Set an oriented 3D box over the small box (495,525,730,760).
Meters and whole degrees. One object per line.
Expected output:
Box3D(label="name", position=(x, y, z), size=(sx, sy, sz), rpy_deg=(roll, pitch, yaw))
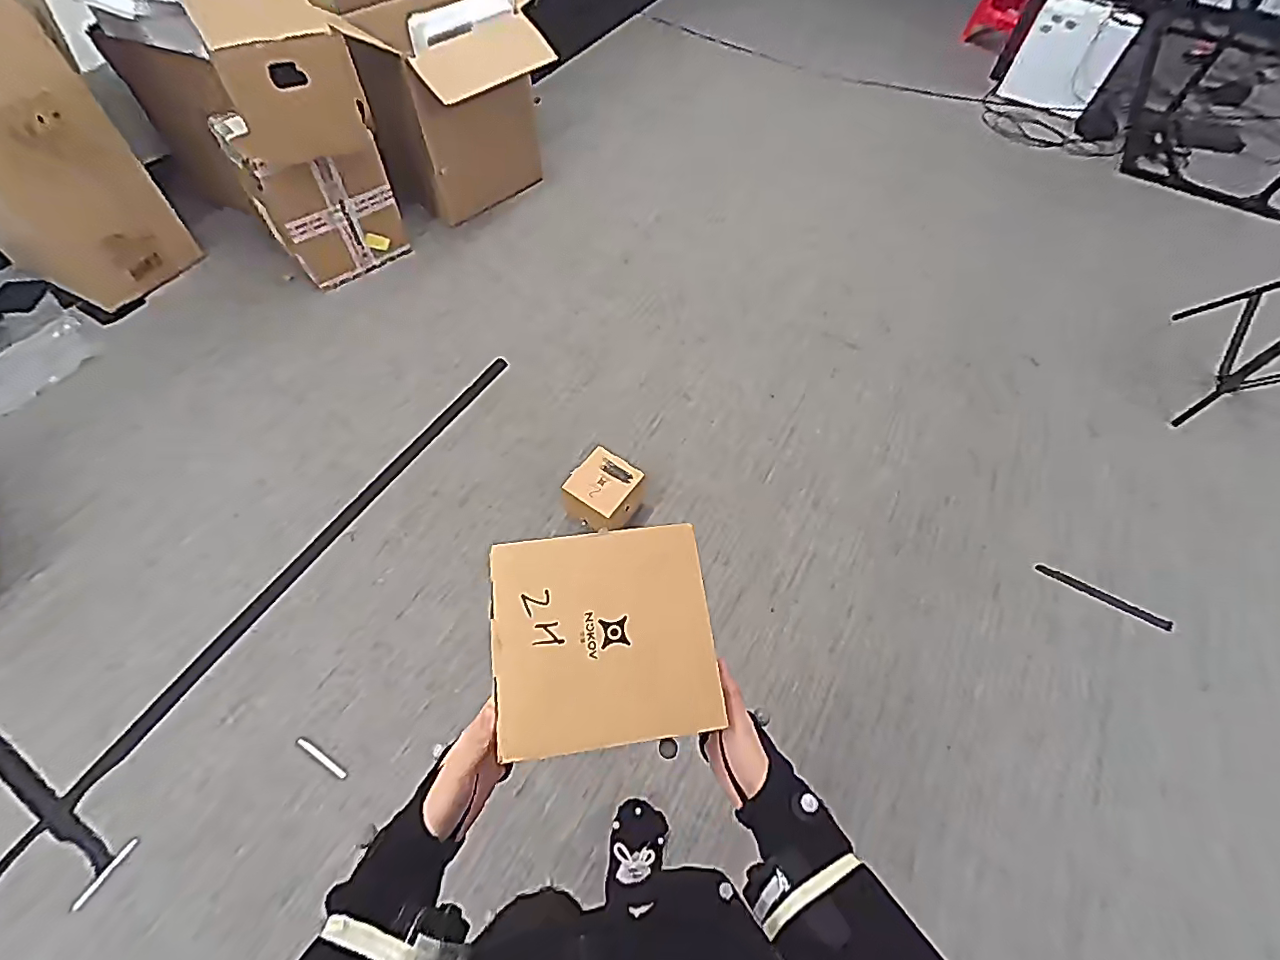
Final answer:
Box3D(label="small box", position=(-0.031, 0.150, 0.505), size=(0.179, 0.176, 0.168), rpy_deg=(-6, 68, -6))
